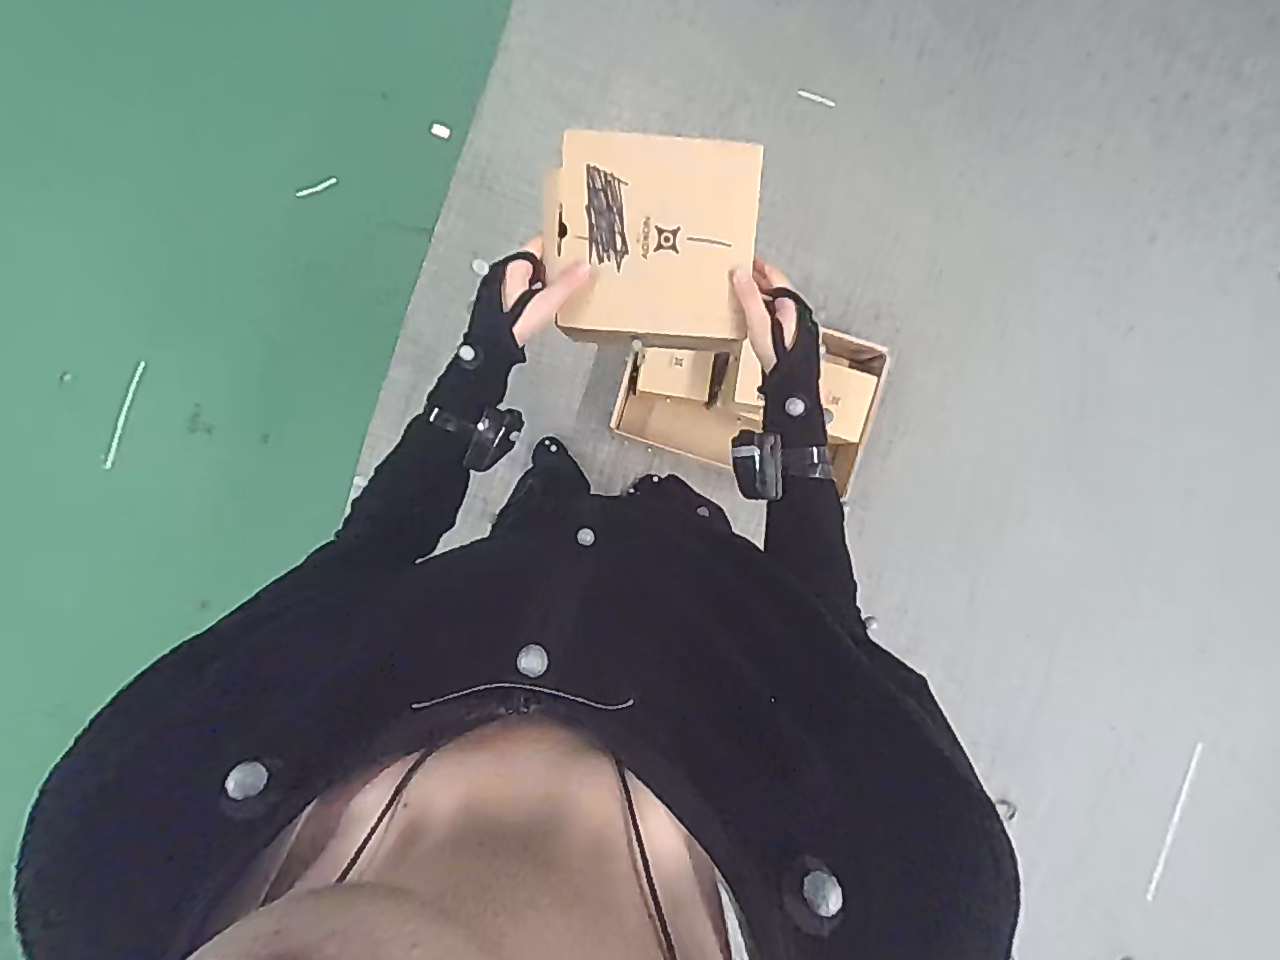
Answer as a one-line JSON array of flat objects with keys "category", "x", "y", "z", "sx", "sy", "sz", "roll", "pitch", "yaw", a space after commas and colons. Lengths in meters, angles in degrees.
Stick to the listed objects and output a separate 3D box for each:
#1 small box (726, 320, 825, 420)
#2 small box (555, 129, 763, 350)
[{"category": "small box", "x": 0.295, "y": -0.239, "z": 1.213, "sx": 0.168, "sy": 0.176, "sz": 0.179, "roll": 9, "pitch": 92, "yaw": 0}, {"category": "small box", "x": 0.013, "y": -0.228, "z": 0.556, "sx": 0.179, "sy": 0.176, "sz": 0.168, "roll": 3, "pitch": 99, "yaw": -3}]
